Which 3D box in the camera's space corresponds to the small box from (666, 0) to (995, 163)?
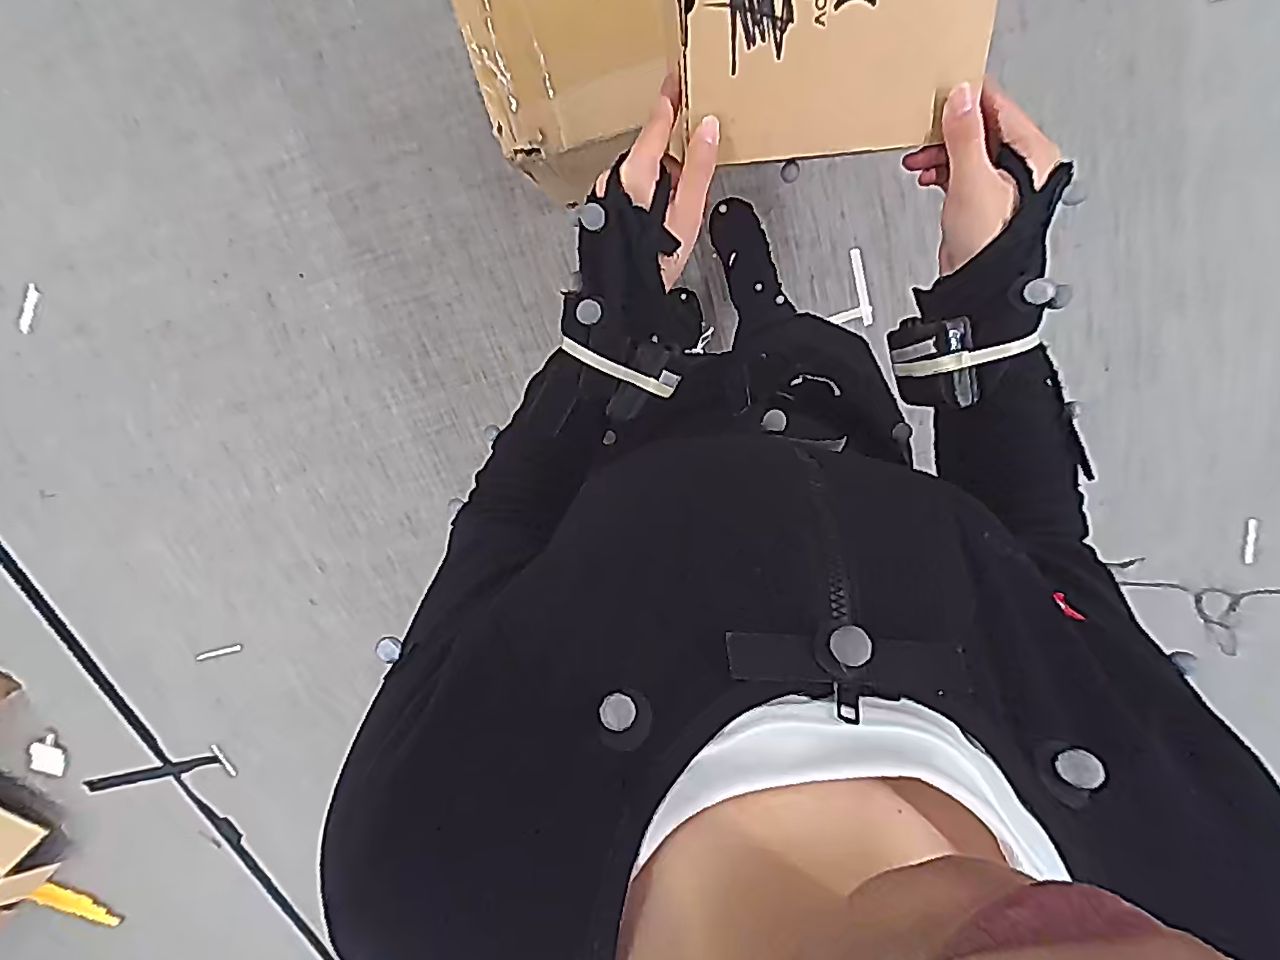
[{"bbox_3d":[0.107,-0.315,0.360,0.179,0.176,0.168,-5,119,2],"label":"small box"}]
